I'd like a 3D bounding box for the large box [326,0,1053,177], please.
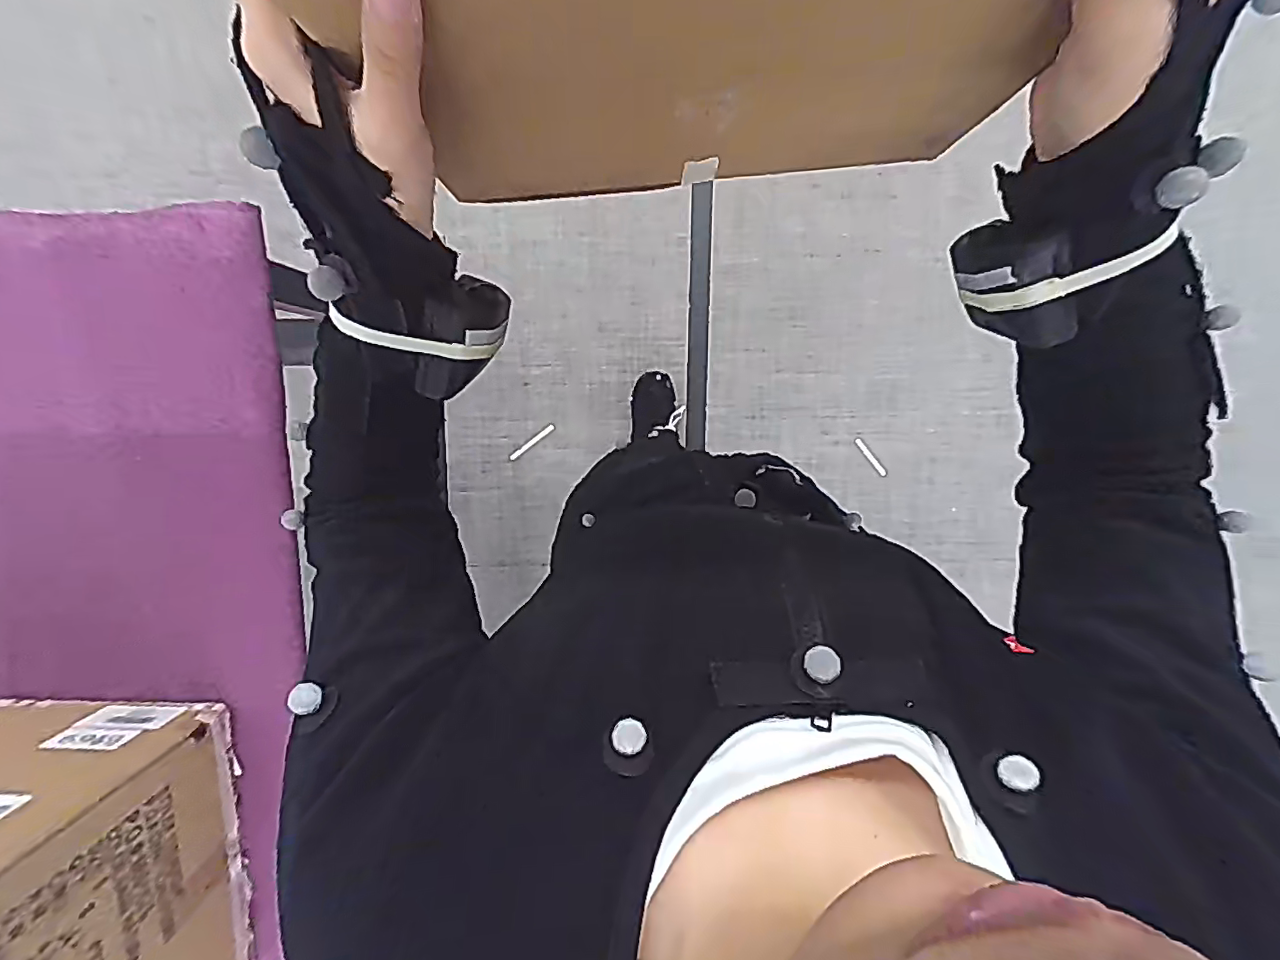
[{"bbox_3d":[0.012,-0.382,0.171,0.320,0.320,0.408,-6,98,2],"label":"large box"}]
